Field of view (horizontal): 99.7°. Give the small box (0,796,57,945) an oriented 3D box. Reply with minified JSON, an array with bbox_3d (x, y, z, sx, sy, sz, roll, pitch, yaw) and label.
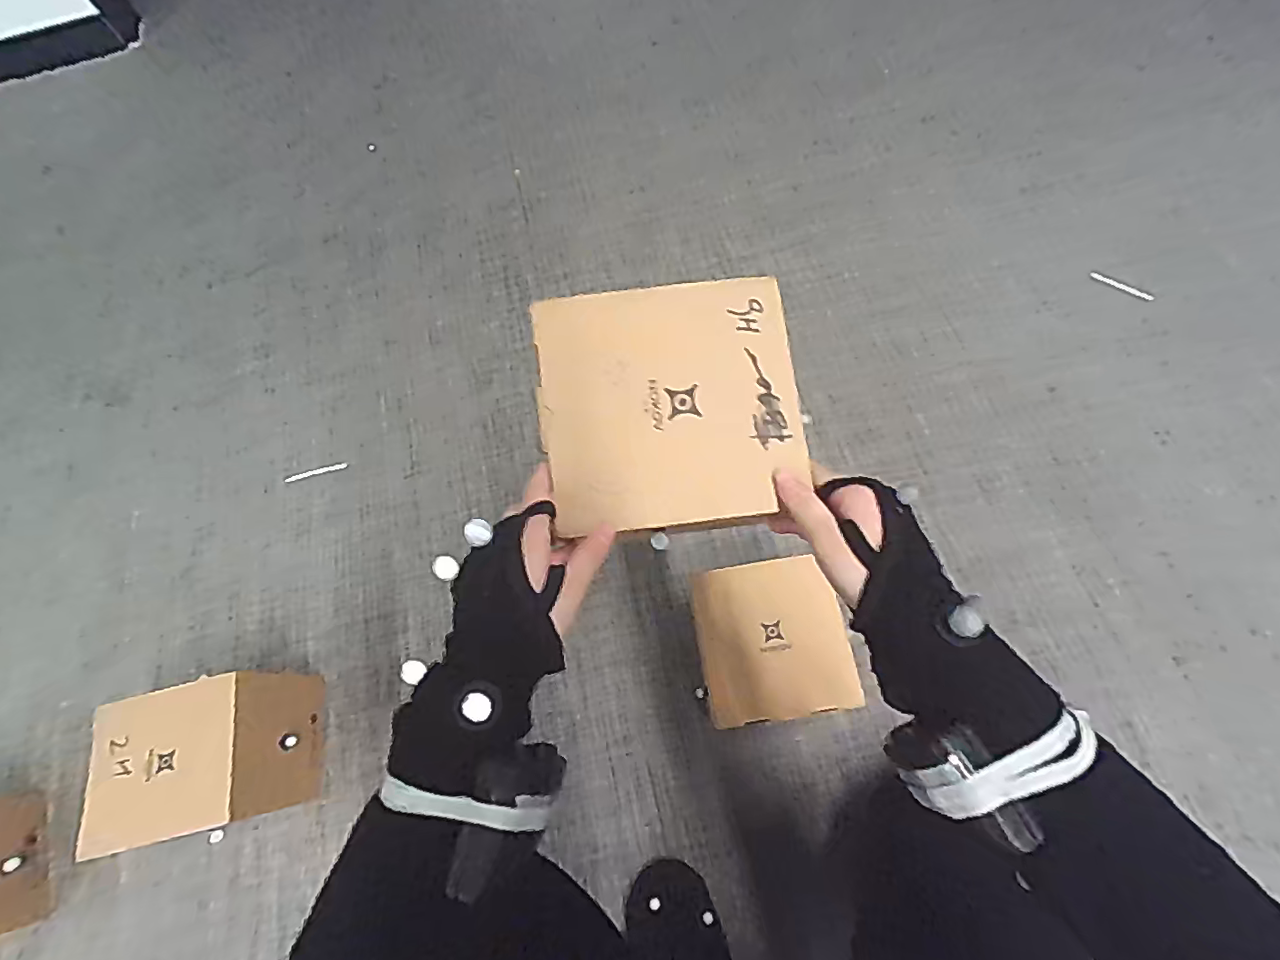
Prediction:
[{"bbox_3d":[-0.900,0.525,0.671,0.179,0.176,0.168,-26,68,-5],"label":"small box"}]

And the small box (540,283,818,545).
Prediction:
[{"bbox_3d":[0.025,-0.038,0.449,0.179,0.176,0.168,-7,82,-1],"label":"small box"}]

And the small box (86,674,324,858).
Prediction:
[{"bbox_3d":[-0.541,0.357,0.703,0.179,0.176,0.168,-14,67,0],"label":"small box"}]
